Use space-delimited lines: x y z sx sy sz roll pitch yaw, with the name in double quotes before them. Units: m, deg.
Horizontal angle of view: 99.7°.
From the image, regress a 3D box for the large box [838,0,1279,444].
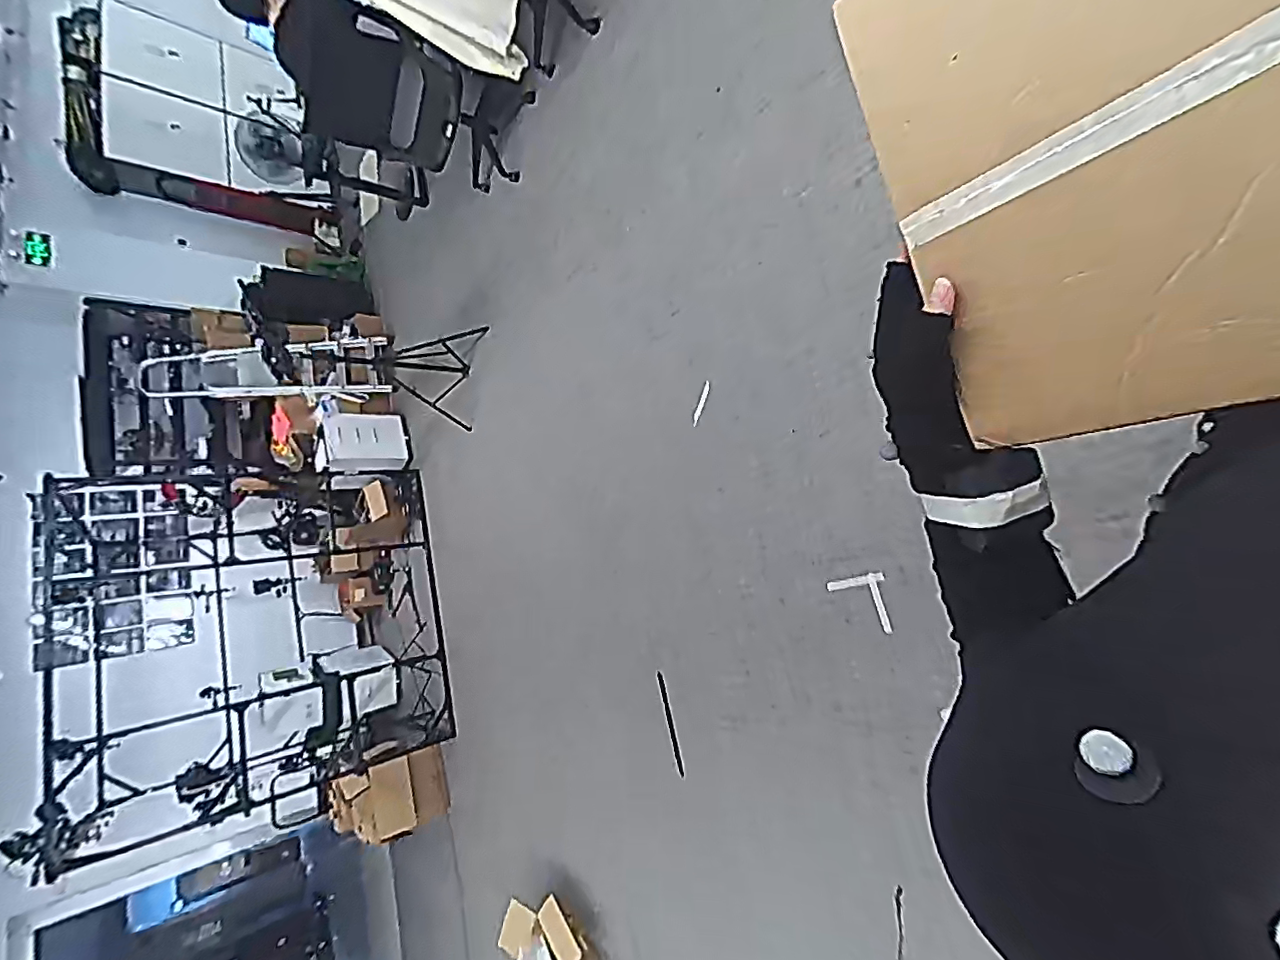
"large box" 0.410 -0.249 0.308 0.408 0.320 0.320 -16 95 53
